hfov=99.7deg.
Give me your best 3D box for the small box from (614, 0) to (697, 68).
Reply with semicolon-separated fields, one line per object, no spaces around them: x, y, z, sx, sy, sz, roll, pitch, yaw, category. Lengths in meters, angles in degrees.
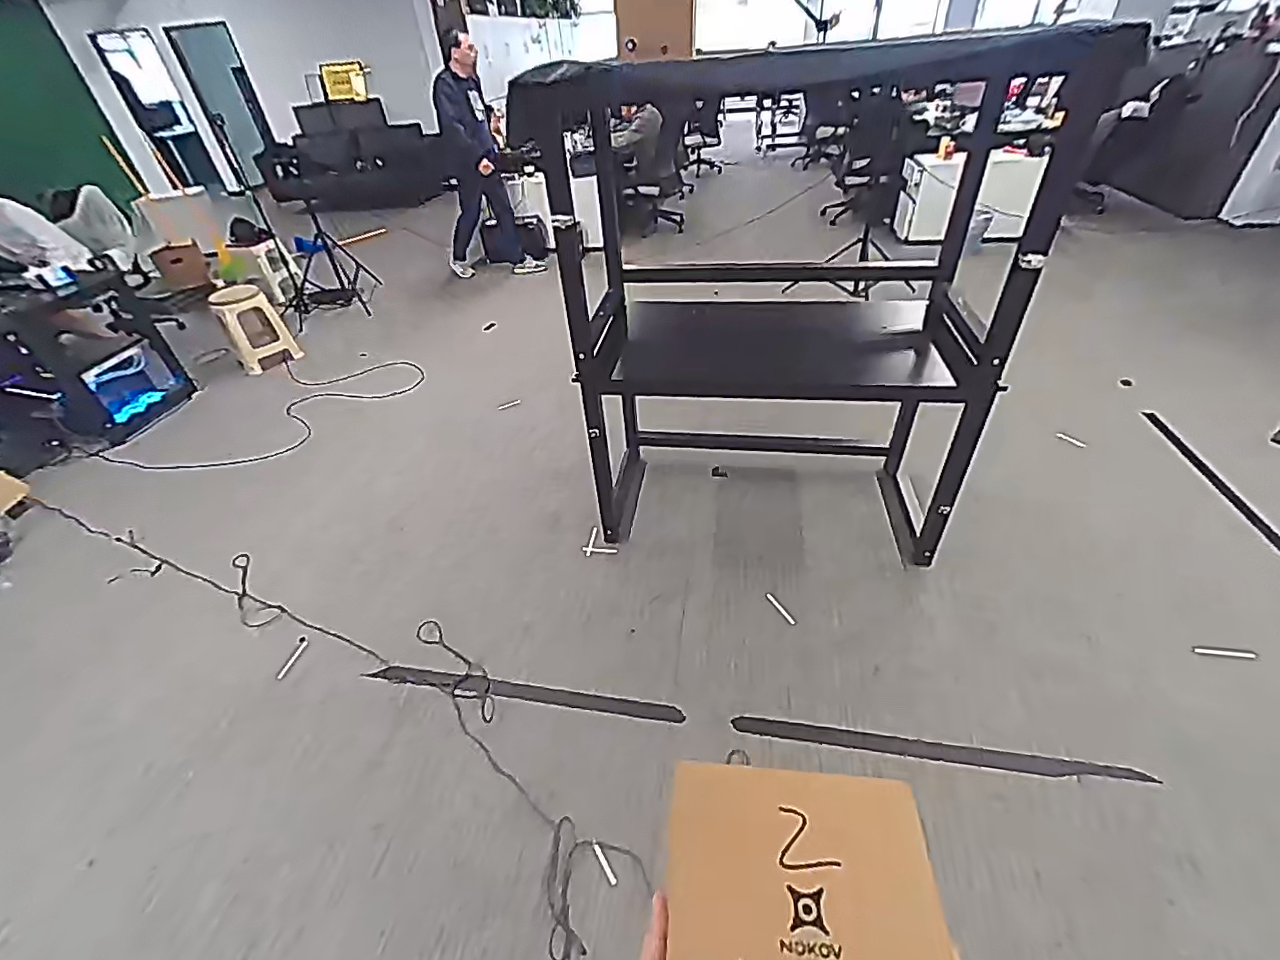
0.039;-1.006;1.173;0.168;0.176;0.179;2;38;7;small box
